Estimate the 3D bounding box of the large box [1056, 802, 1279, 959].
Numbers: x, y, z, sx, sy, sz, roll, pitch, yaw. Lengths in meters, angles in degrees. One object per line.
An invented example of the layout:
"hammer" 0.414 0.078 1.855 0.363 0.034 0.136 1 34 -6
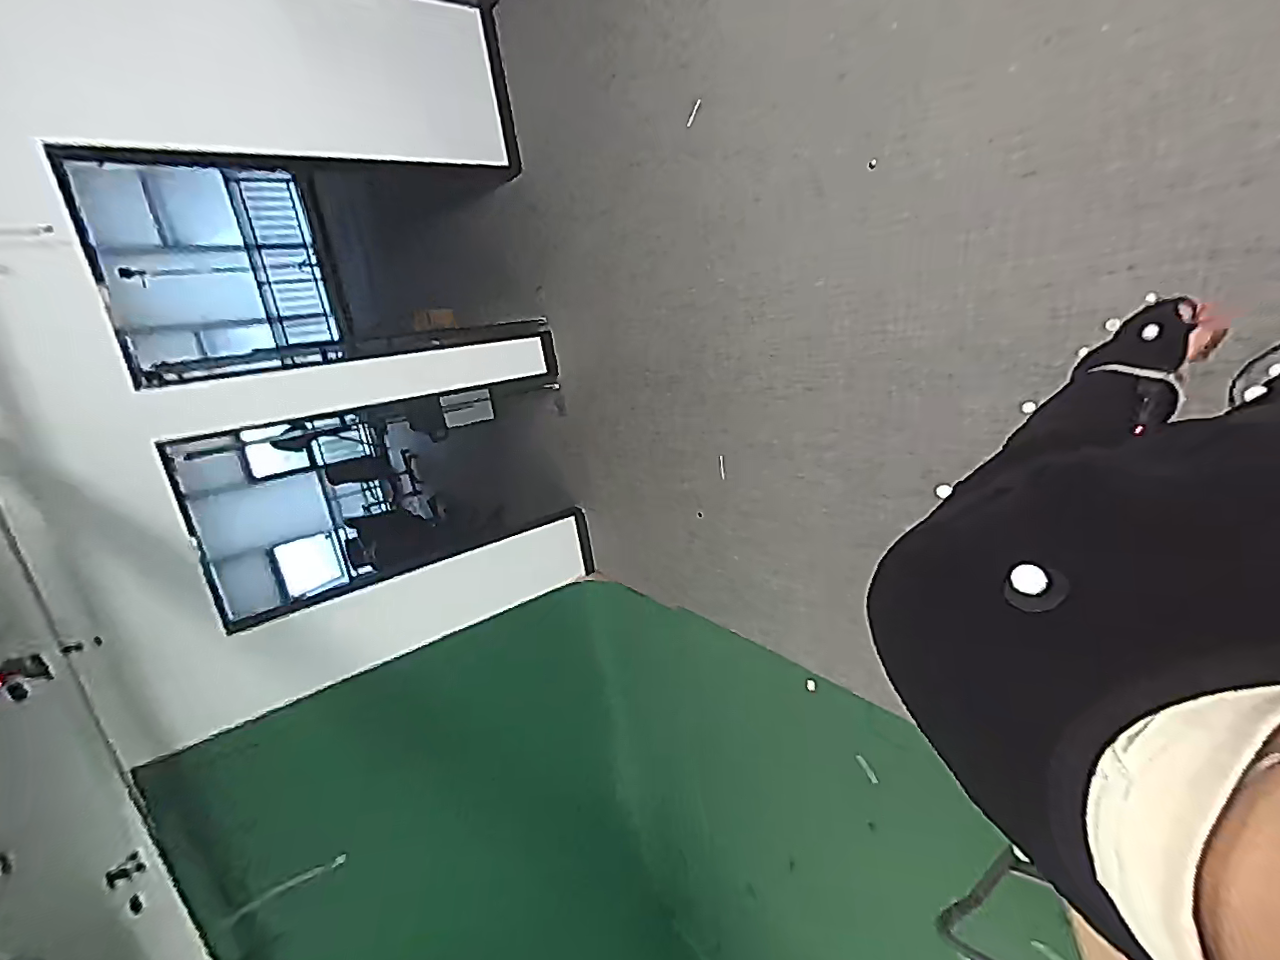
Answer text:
"large box" 1.189 1.010 1.169 0.320 0.320 0.408 -17 91 57
